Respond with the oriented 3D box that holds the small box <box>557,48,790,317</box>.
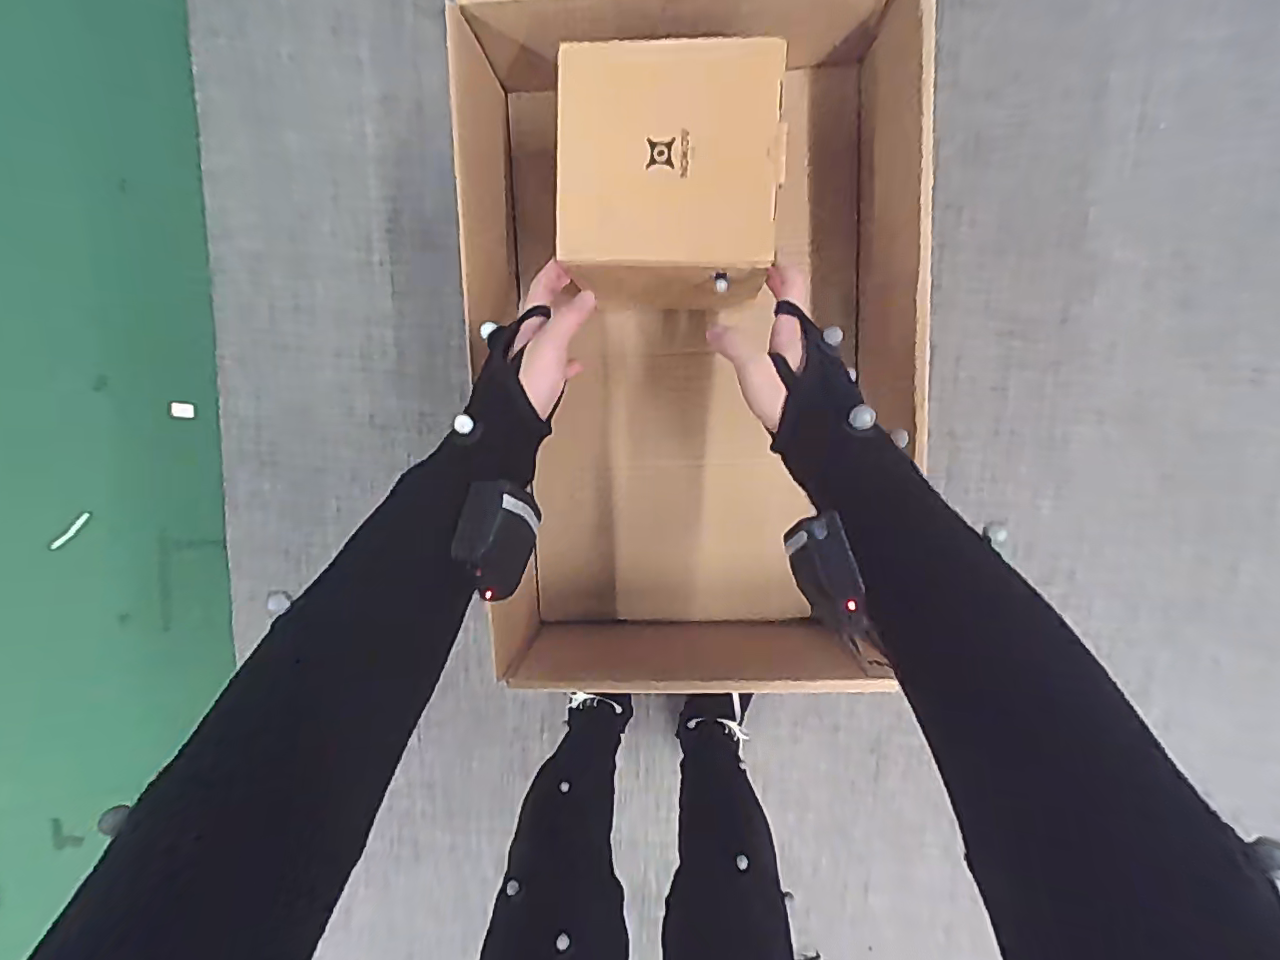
[{"bbox_3d":[0.030,-0.252,0.497,0.179,0.176,0.168,3,94,4],"label":"small box"}]
